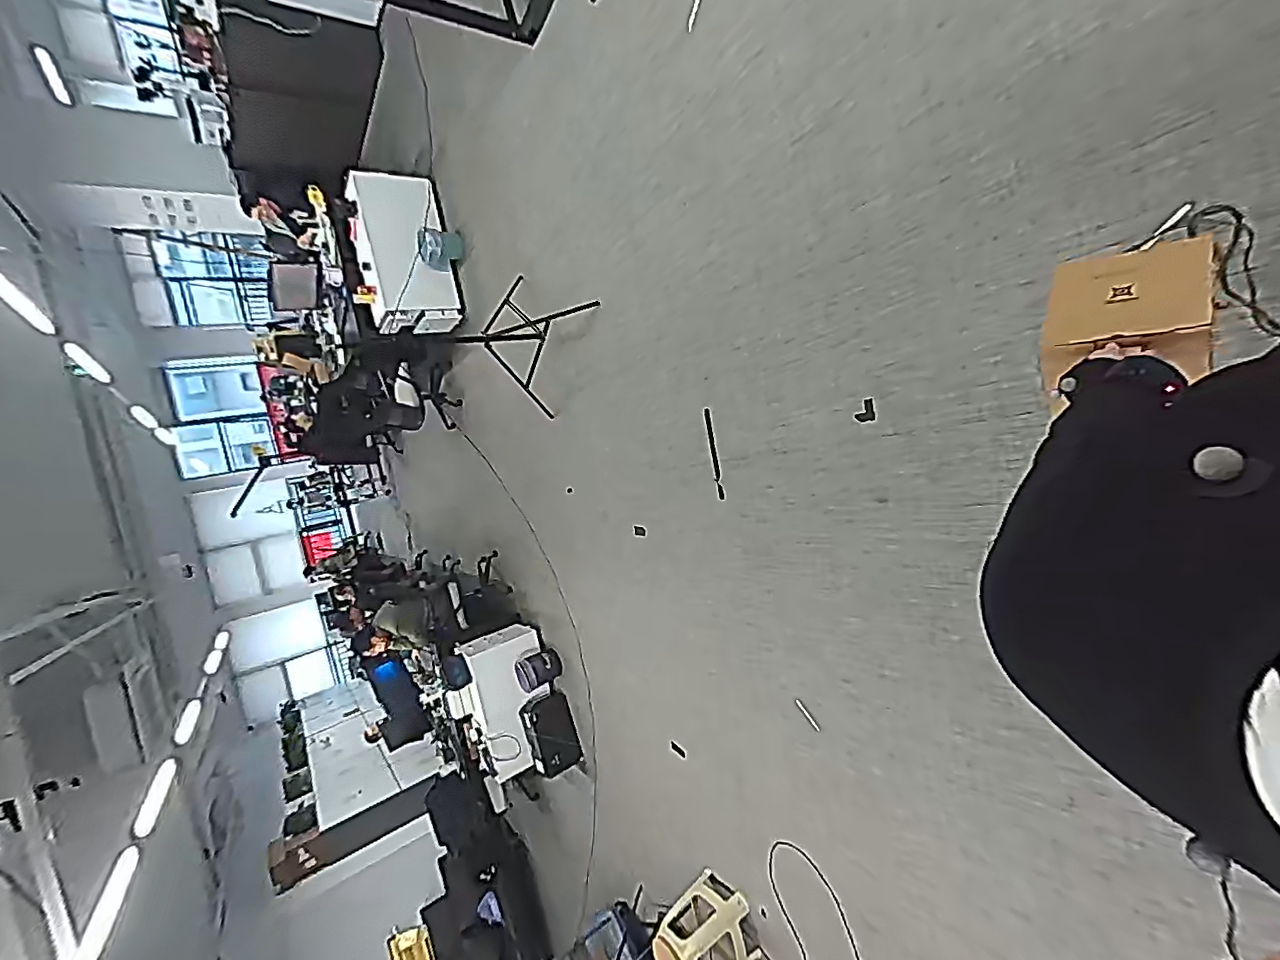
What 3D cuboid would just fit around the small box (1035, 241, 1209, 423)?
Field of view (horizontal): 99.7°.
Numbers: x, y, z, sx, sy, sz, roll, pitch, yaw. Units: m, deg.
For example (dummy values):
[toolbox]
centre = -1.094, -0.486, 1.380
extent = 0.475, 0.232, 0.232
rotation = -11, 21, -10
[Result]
[small box]
centre = 0.681, -0.192, 0.762
extent = 0.168, 0.179, 0.176
rotation = 2, 142, 45
